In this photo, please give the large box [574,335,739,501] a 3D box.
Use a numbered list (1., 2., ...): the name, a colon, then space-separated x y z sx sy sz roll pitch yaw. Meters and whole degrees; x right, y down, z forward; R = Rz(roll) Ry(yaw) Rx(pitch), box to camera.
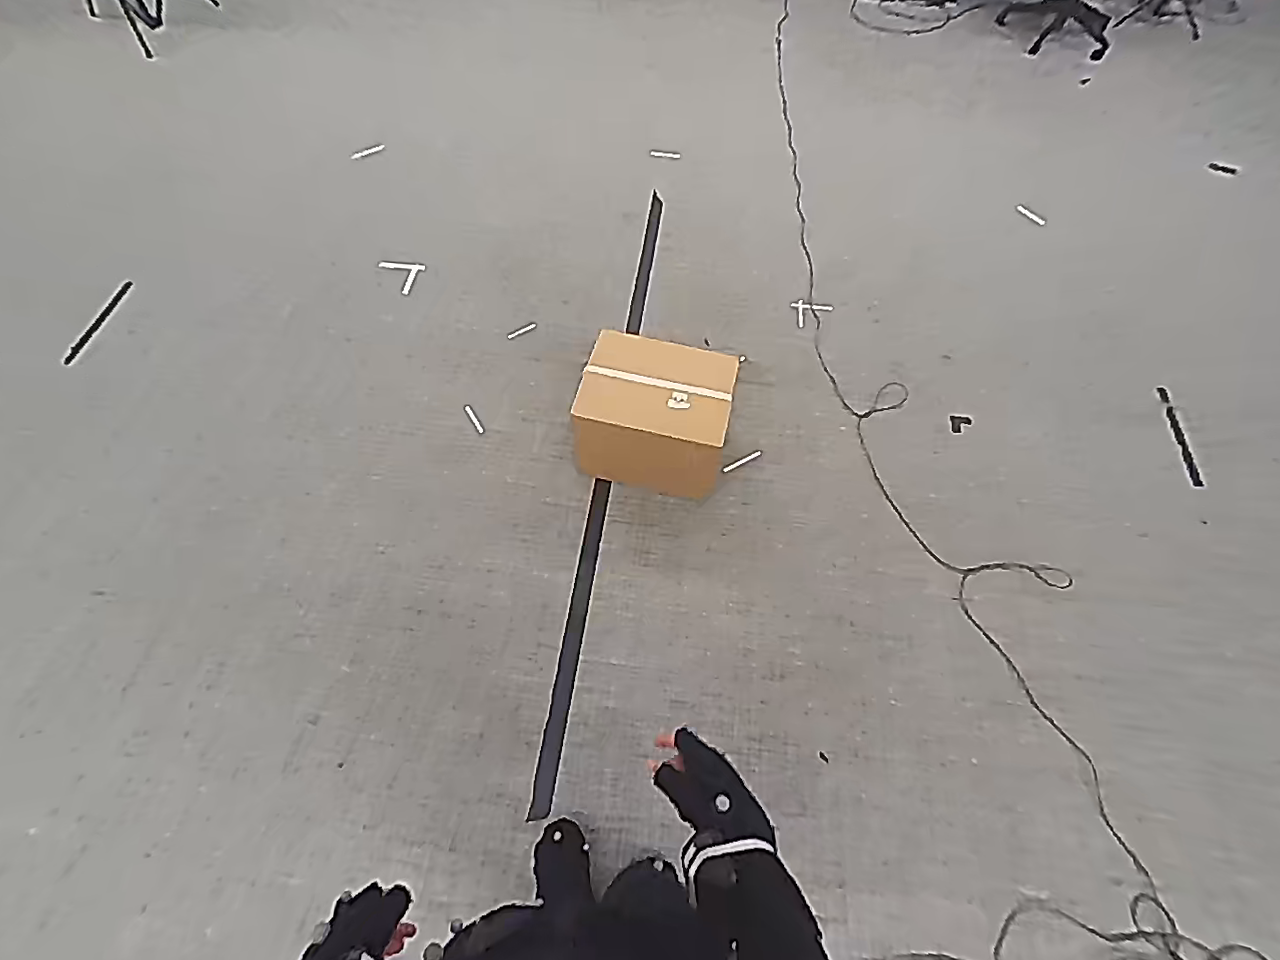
1. large box: 0.044 -0.174 1.587 0.408 0.320 0.320 13 61 5
